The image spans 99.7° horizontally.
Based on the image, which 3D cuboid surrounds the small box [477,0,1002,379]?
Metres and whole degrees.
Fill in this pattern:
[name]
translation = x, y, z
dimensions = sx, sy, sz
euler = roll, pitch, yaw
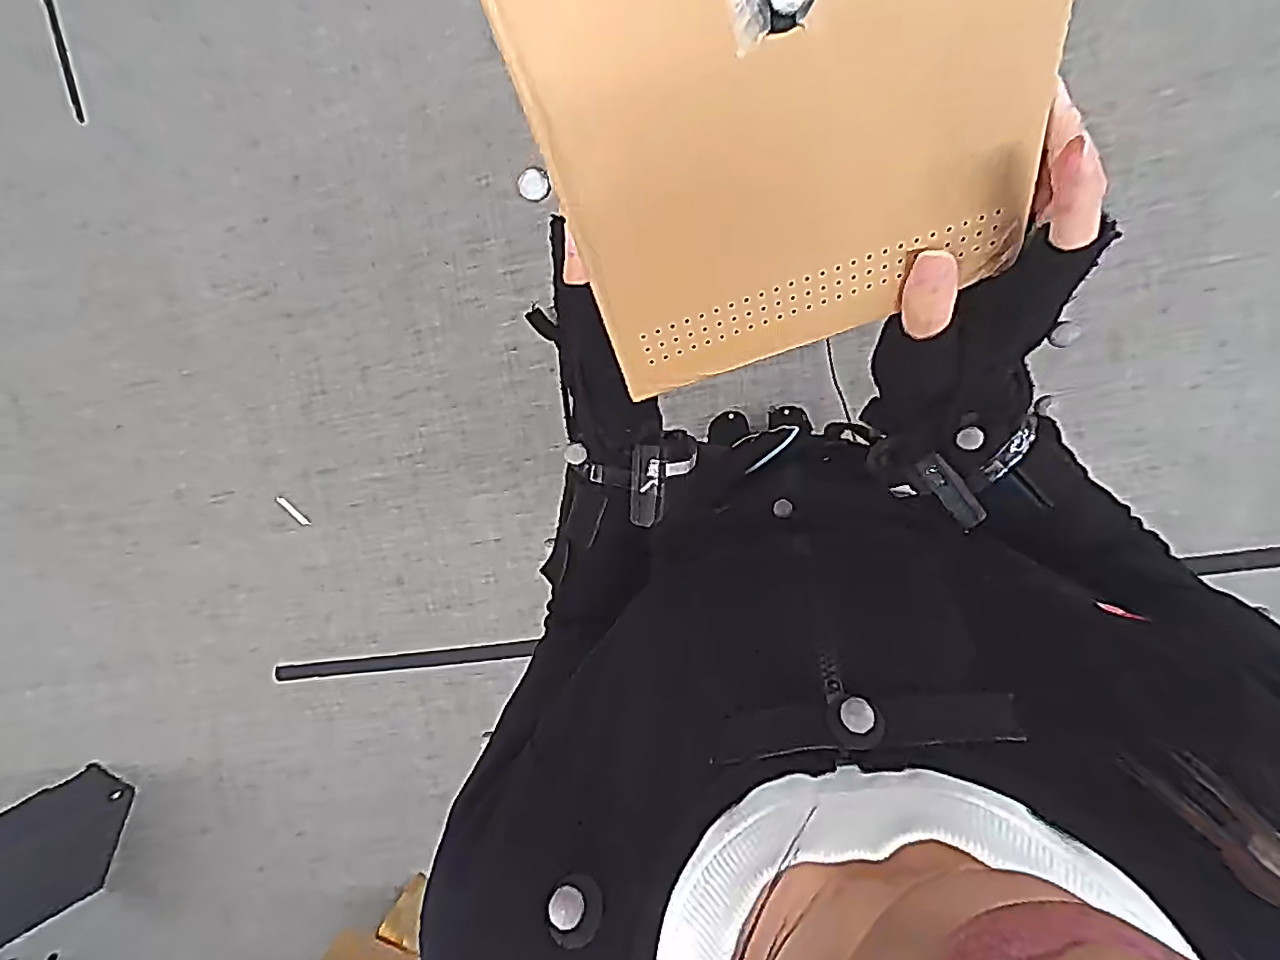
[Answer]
[small box]
translation = 0.045, -0.175, 0.261
dimensions = 0.179, 0.168, 0.176
euler = -18, 134, 6
